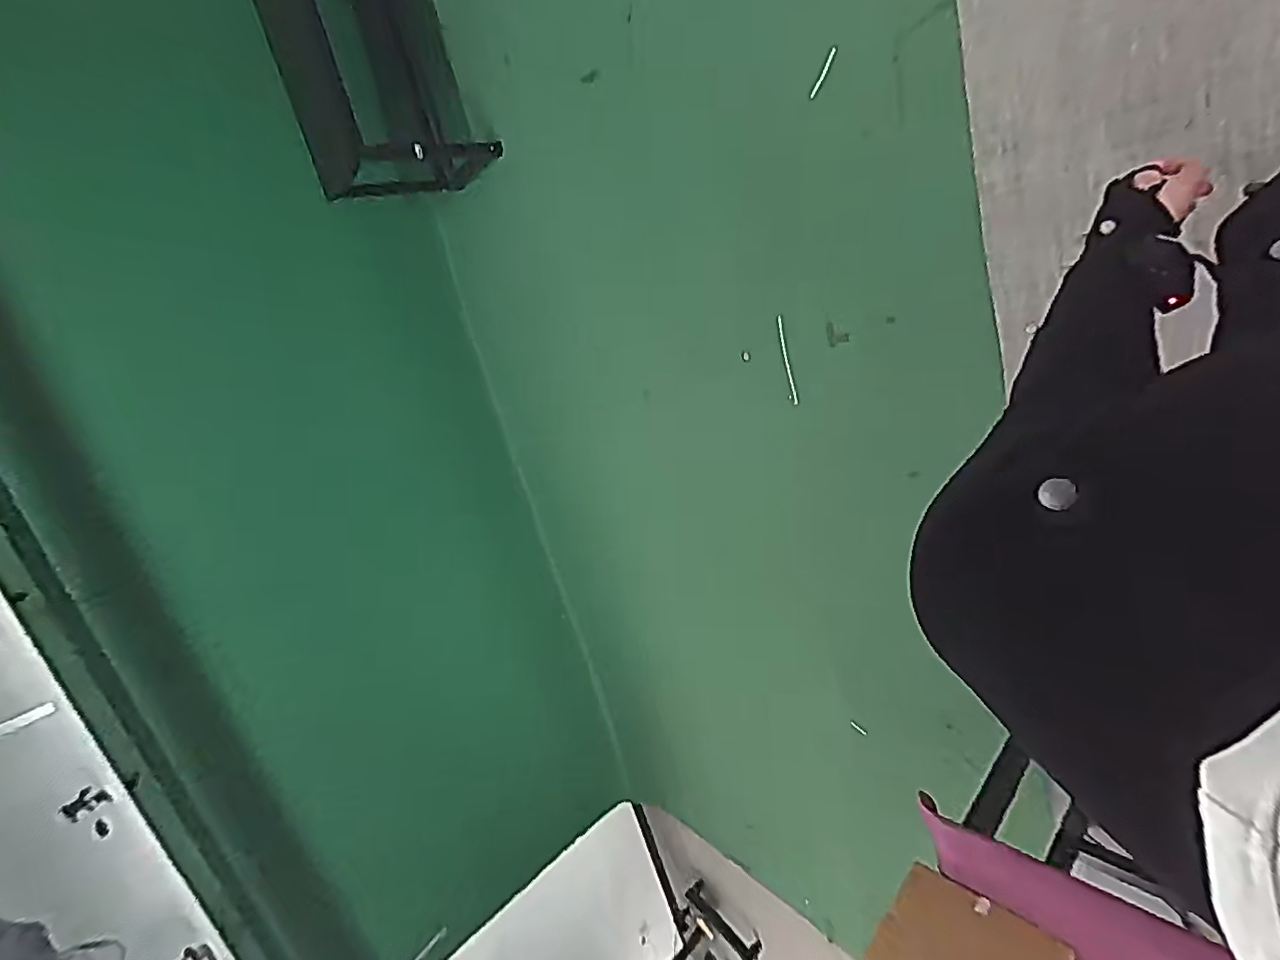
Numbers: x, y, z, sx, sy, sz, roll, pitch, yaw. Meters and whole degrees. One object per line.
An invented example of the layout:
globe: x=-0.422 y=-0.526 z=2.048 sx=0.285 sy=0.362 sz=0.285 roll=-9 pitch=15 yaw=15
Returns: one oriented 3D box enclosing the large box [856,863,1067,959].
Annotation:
large box: x=0.699 y=1.161 z=1.151 sx=0.320 sy=0.320 sz=0.408 roll=1 pitch=112 yaw=50
